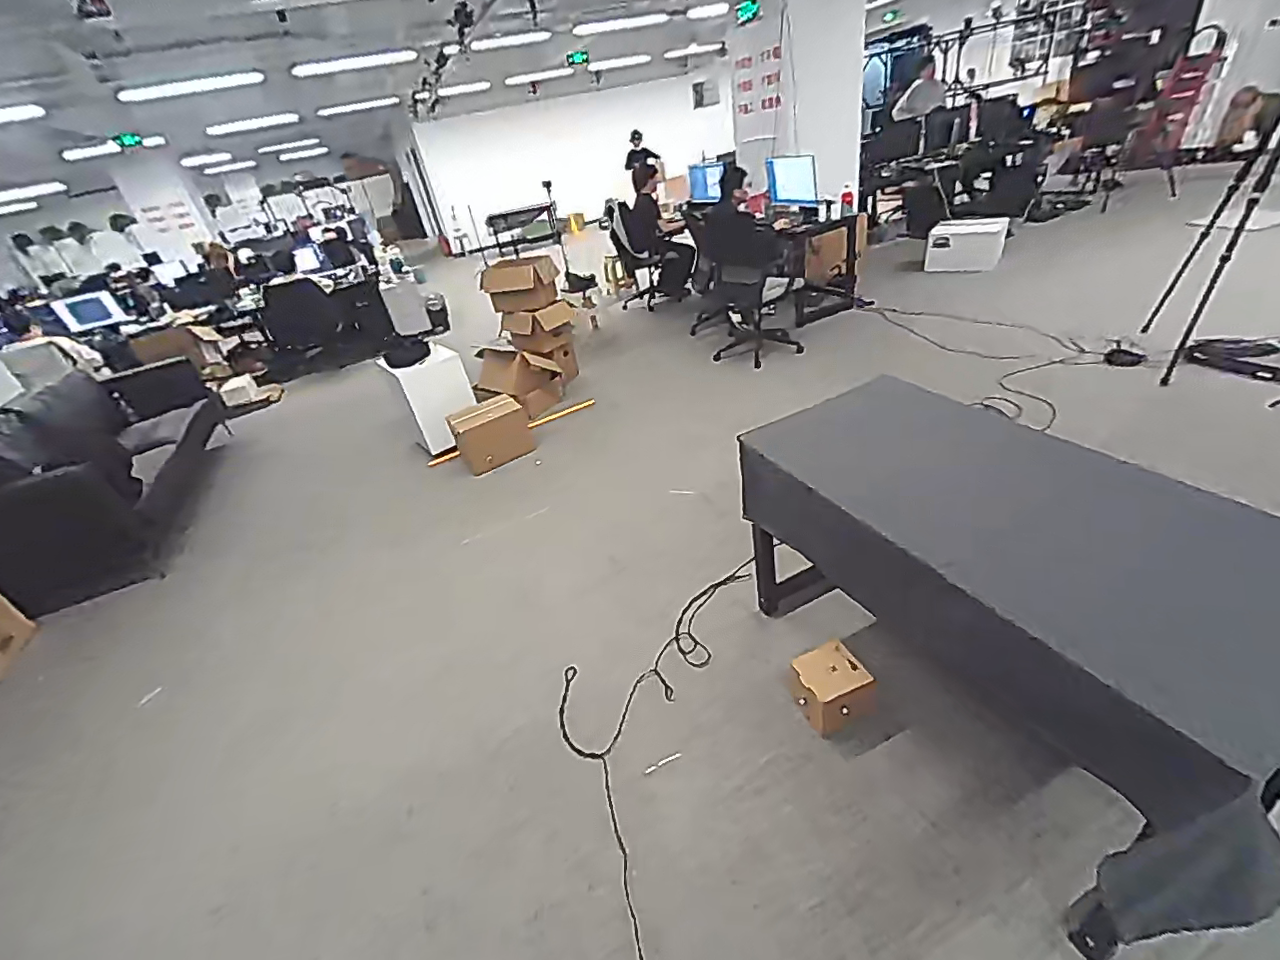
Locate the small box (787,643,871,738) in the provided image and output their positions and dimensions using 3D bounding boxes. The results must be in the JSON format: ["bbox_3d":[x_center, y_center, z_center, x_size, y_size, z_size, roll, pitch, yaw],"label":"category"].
[{"bbox_3d":[0.559,0.624,1.598,0.179,0.176,0.168,-19,31,-12],"label":"small box"}]
